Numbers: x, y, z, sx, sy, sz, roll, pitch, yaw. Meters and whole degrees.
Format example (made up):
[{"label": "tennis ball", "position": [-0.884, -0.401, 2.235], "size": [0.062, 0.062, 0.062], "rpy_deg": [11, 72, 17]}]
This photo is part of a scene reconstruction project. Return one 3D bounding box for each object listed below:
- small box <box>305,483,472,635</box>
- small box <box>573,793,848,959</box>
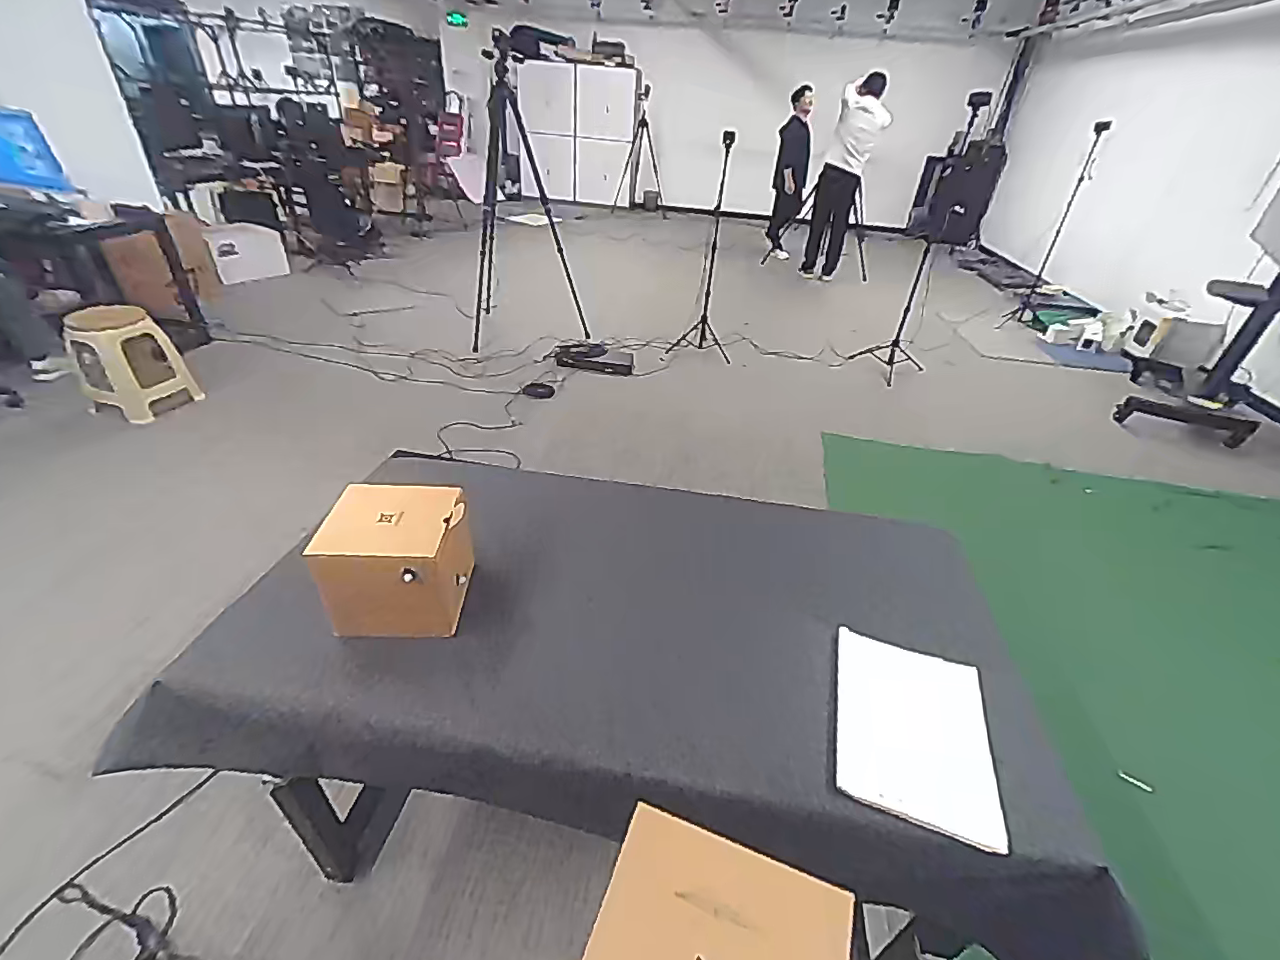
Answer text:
[{"label": "small box", "position": [-0.368, 0.121, 0.829], "size": [0.179, 0.176, 0.168], "rpy_deg": [2, 34, -5]}, {"label": "small box", "position": [0.040, 0.379, 0.397], "size": [0.168, 0.176, 0.179], "rpy_deg": [15, 44, 15]}]
